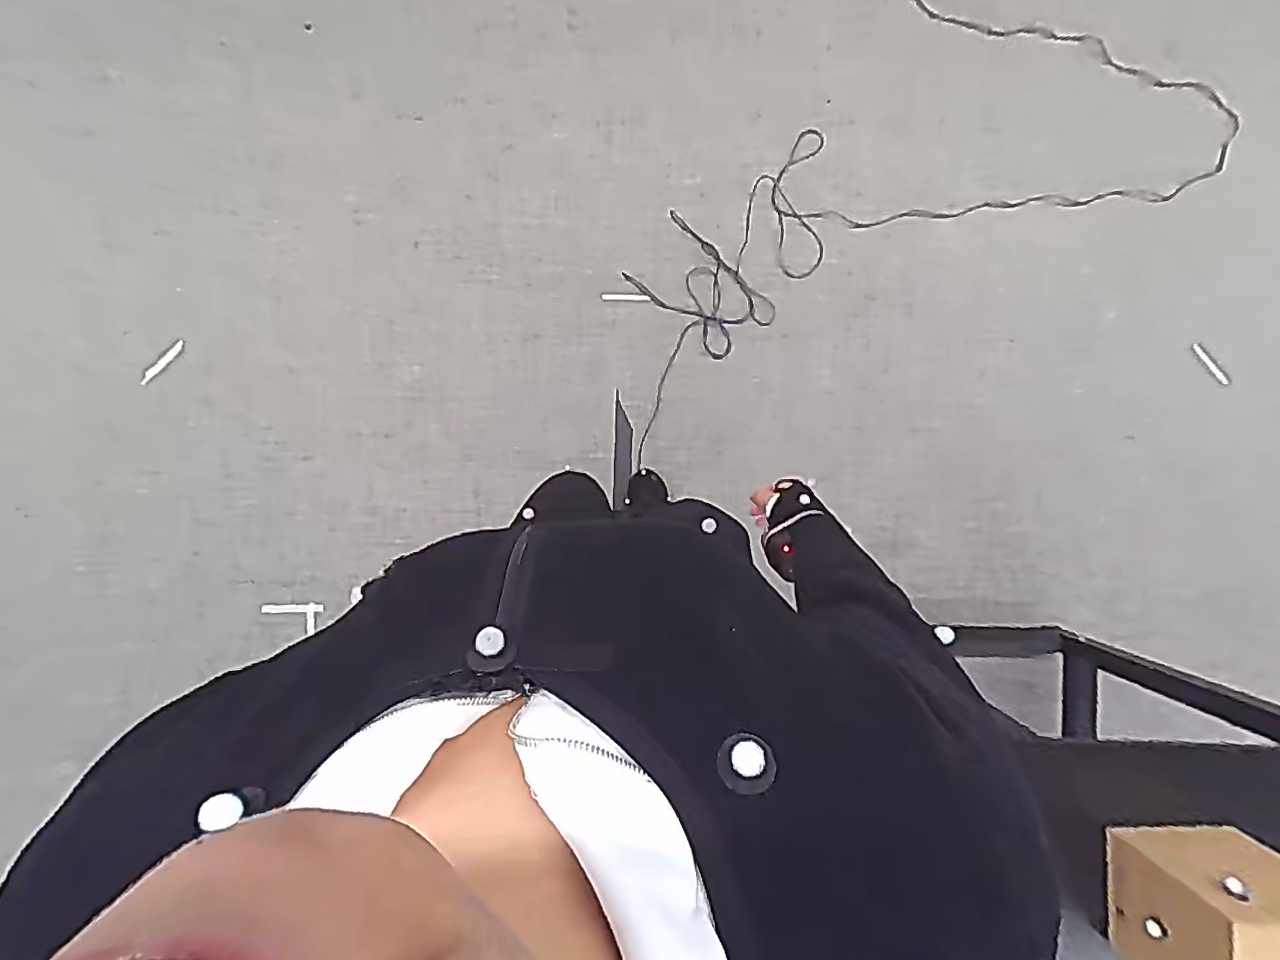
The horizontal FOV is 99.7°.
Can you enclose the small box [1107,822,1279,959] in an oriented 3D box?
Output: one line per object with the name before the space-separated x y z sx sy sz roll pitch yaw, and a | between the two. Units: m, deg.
small box | 0.733 0.559 0.676 0.179 0.176 0.168 -1 90 0
